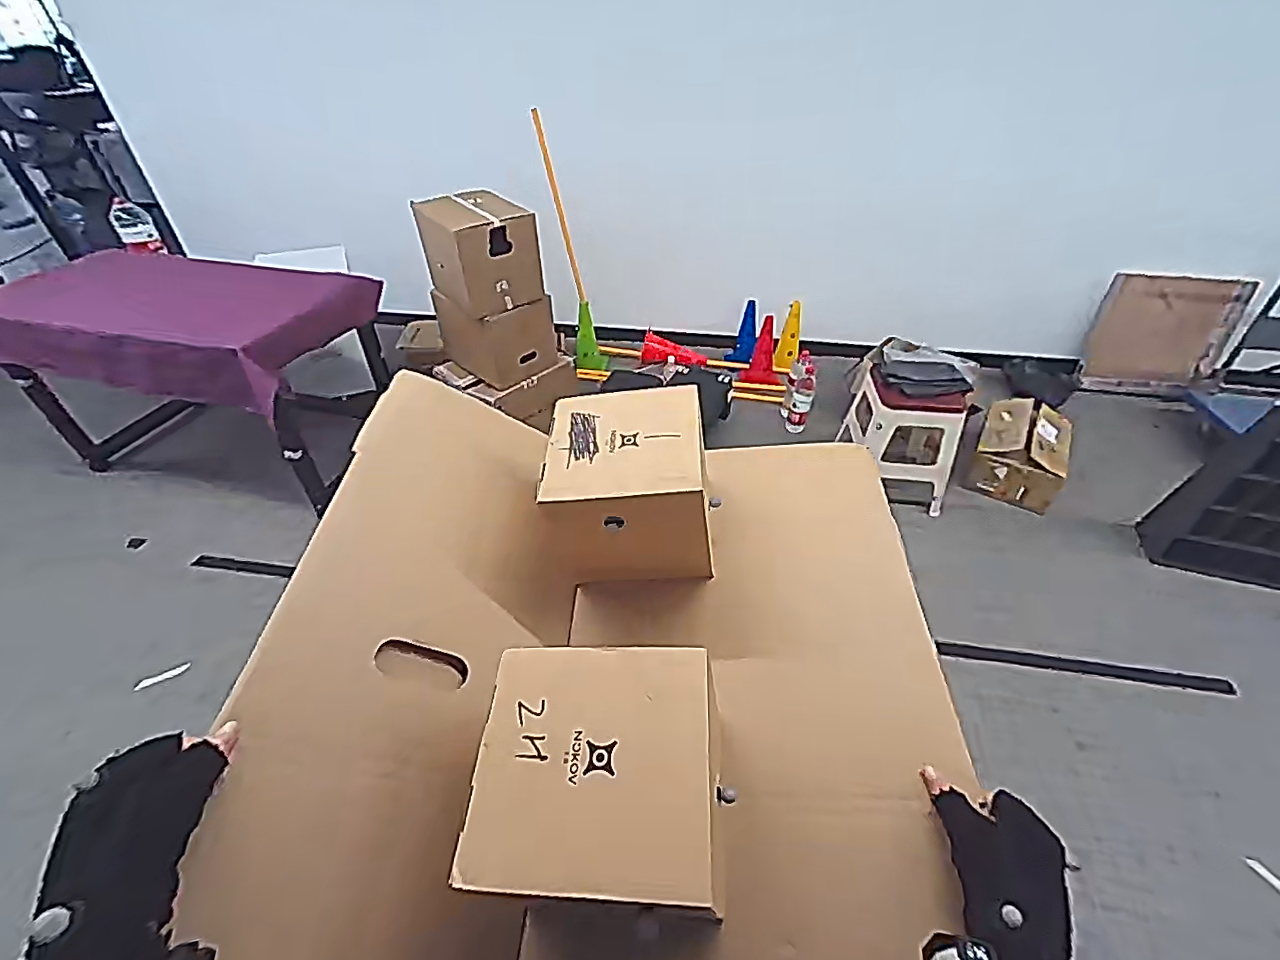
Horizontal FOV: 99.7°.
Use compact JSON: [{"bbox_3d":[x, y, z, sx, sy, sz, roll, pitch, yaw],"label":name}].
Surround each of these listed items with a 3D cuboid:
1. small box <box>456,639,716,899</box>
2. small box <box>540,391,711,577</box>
[{"bbox_3d":[-0.024,0.252,0.471,0.179,0.176,0.168,-3,49,11],"label":"small box"},{"bbox_3d":[-0.007,0.011,0.681,0.179,0.176,0.168,-4,48,8],"label":"small box"}]
